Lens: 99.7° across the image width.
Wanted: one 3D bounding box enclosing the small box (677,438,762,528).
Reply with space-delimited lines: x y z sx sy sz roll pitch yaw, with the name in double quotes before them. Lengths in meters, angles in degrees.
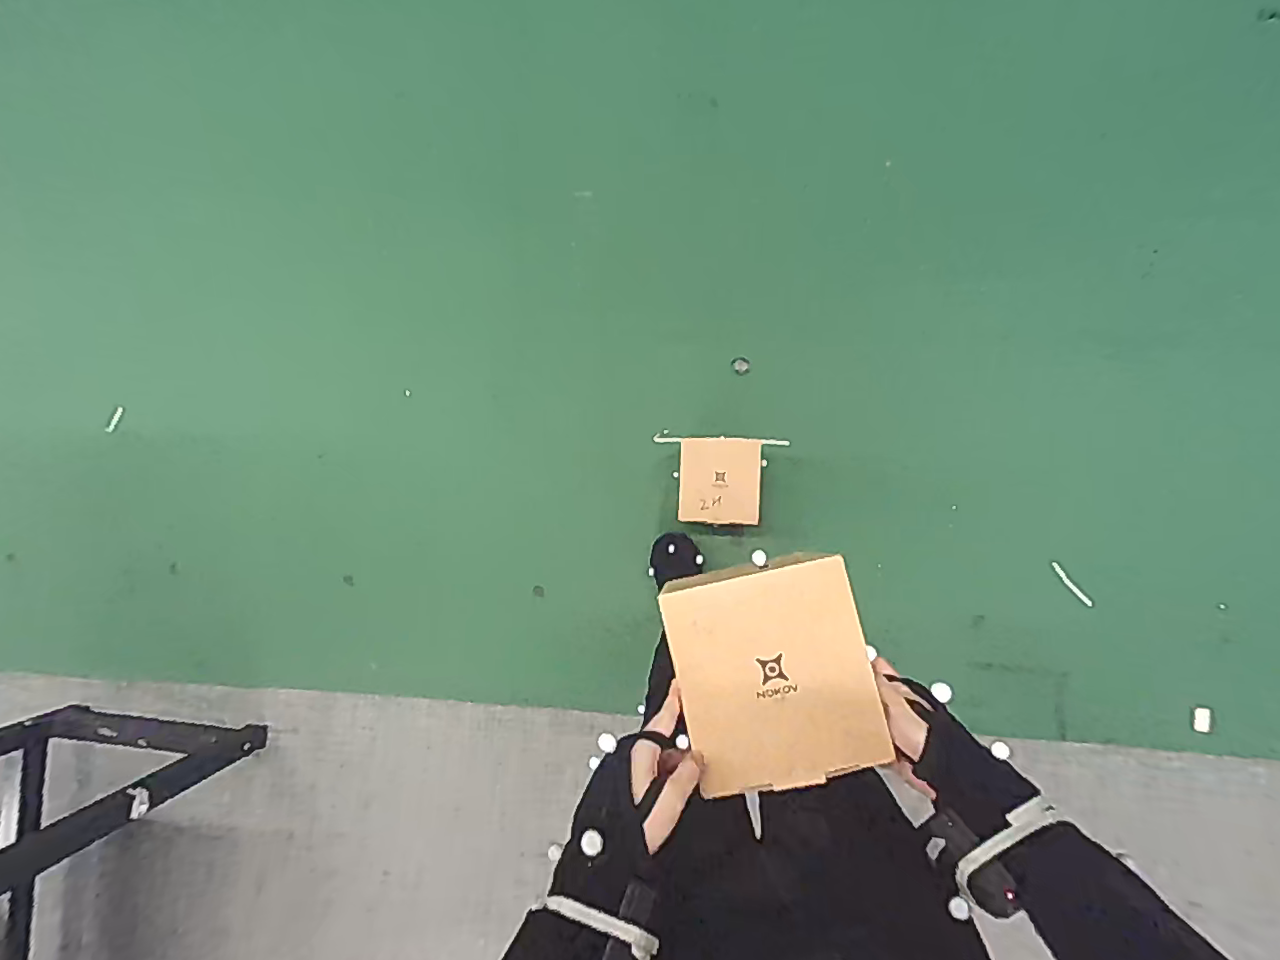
"small box" 0.169 0.010 1.185 0.168 0.176 0.179 3 88 6
